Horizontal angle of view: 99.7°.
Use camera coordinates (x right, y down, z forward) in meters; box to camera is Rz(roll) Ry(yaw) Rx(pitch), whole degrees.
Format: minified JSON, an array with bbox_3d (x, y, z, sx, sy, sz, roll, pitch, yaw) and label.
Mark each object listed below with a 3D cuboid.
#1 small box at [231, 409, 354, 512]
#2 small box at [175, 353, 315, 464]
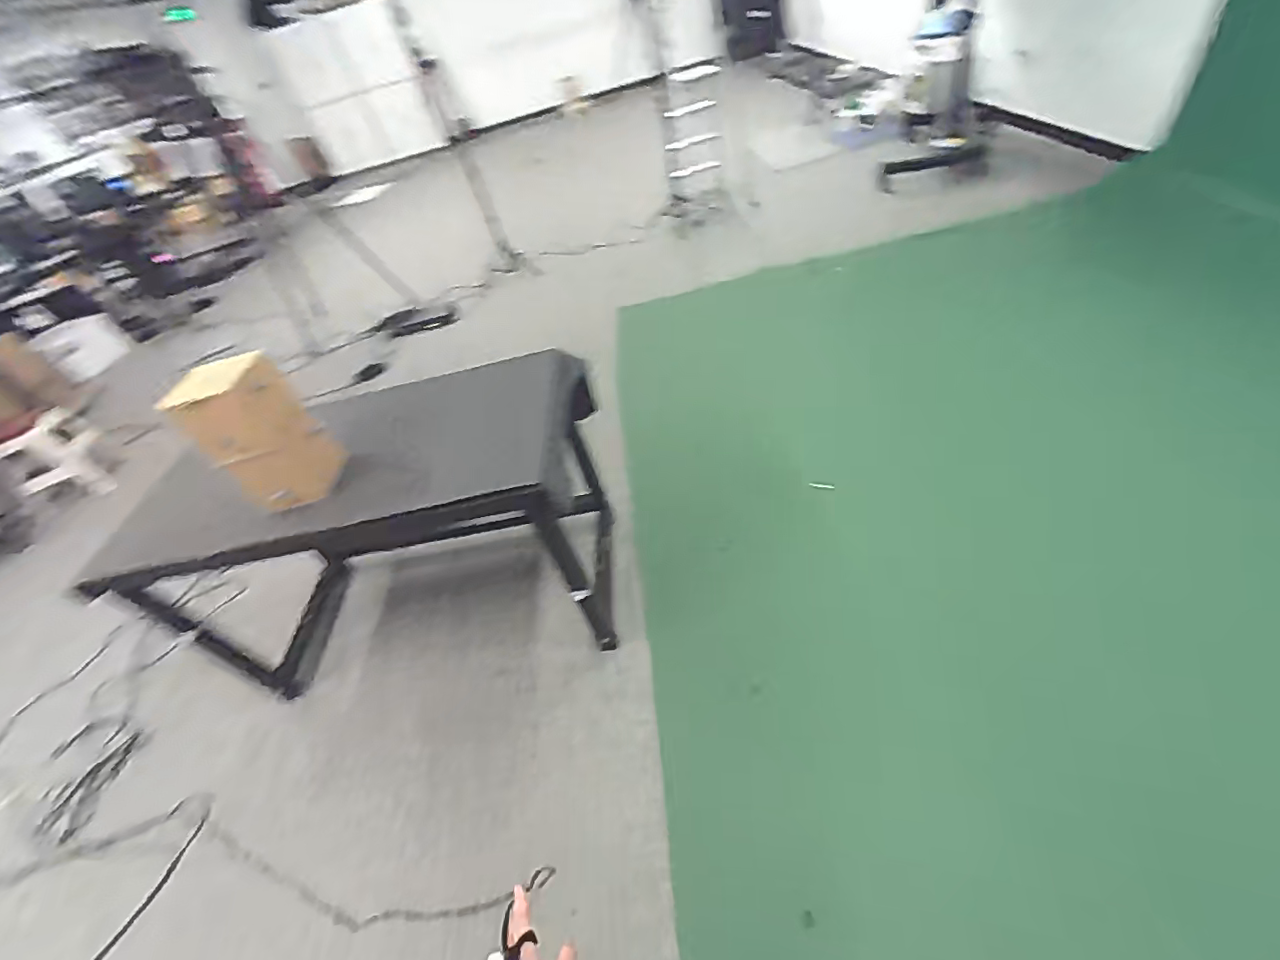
[{"bbox_3d":[-0.854,-0.048,1.353,0.168,0.176,0.179,-13,42,7],"label":"small box"},{"bbox_3d":[-0.891,-0.164,1.245,0.168,0.176,0.179,-12,42,6],"label":"small box"}]
